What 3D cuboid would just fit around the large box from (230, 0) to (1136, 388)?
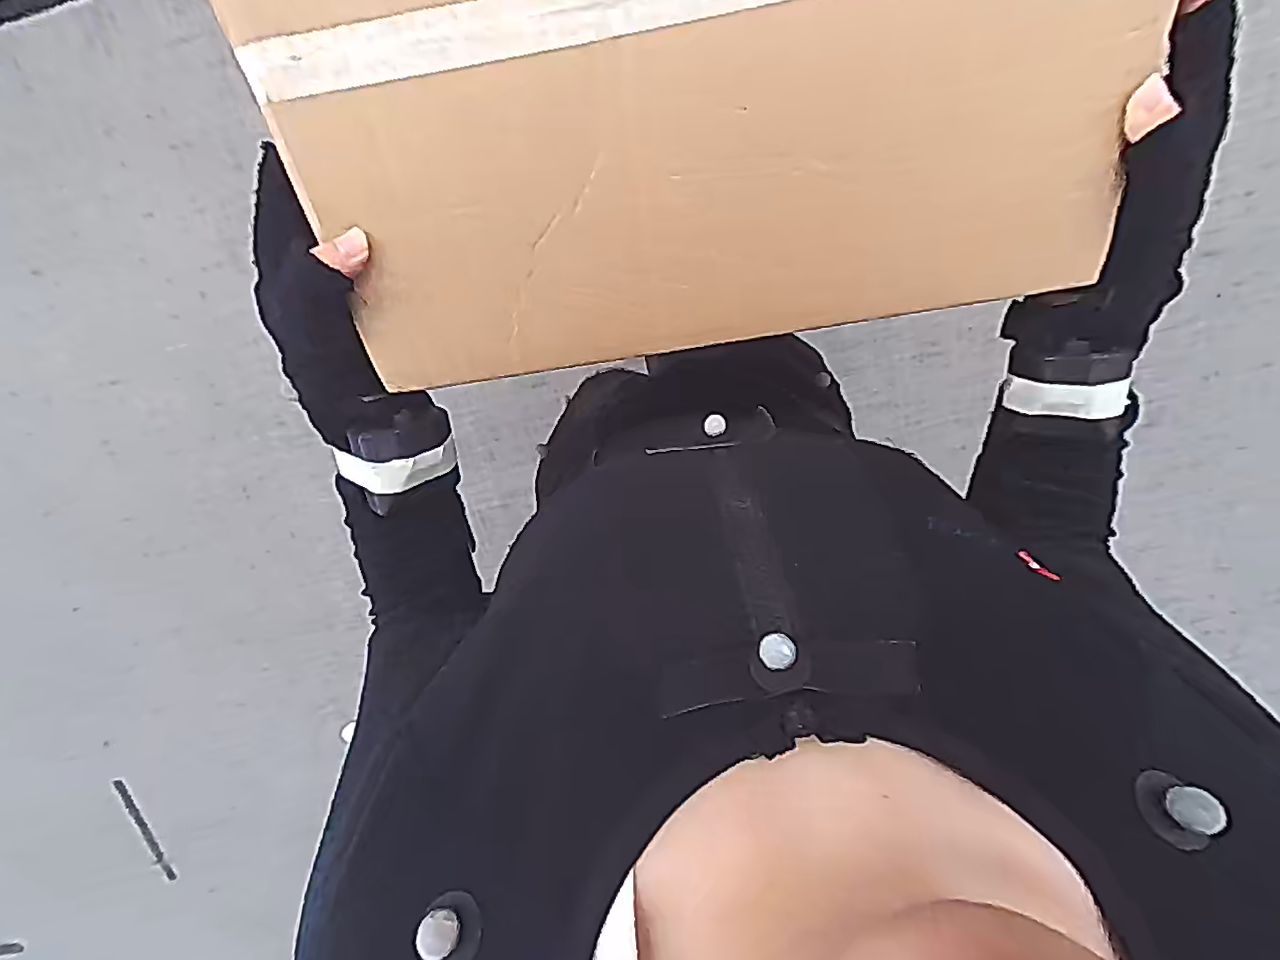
[{"bbox_3d":[0.020,-0.293,0.362,0.408,0.320,0.320,-8,122,4],"label":"large box"}]
